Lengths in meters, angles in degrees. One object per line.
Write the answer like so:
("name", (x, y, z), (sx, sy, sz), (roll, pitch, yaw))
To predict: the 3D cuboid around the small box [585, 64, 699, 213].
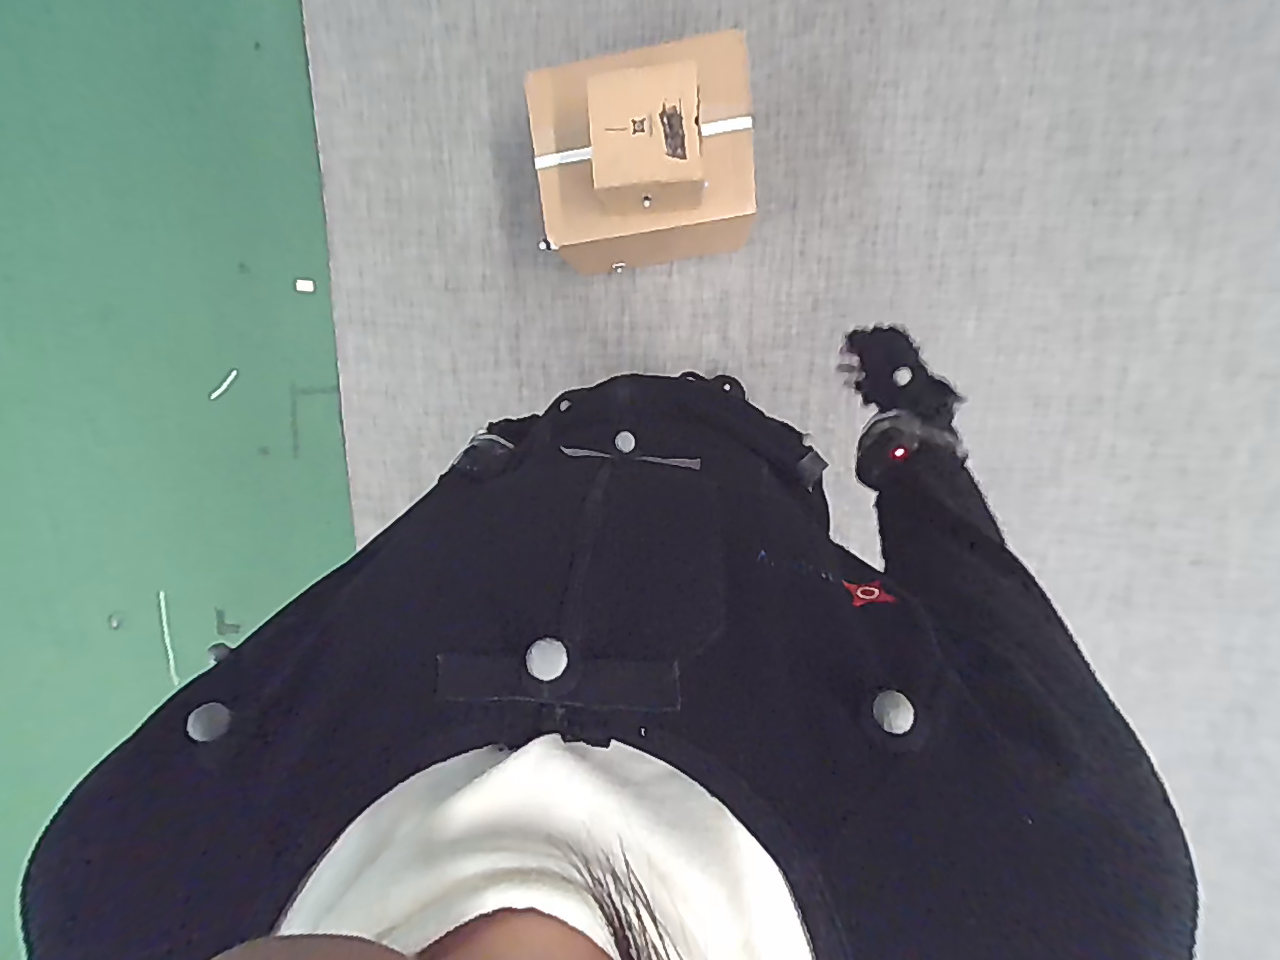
("small box", (0.011, -0.575, 0.934), (0.179, 0.176, 0.168), (-2, 101, 7))
